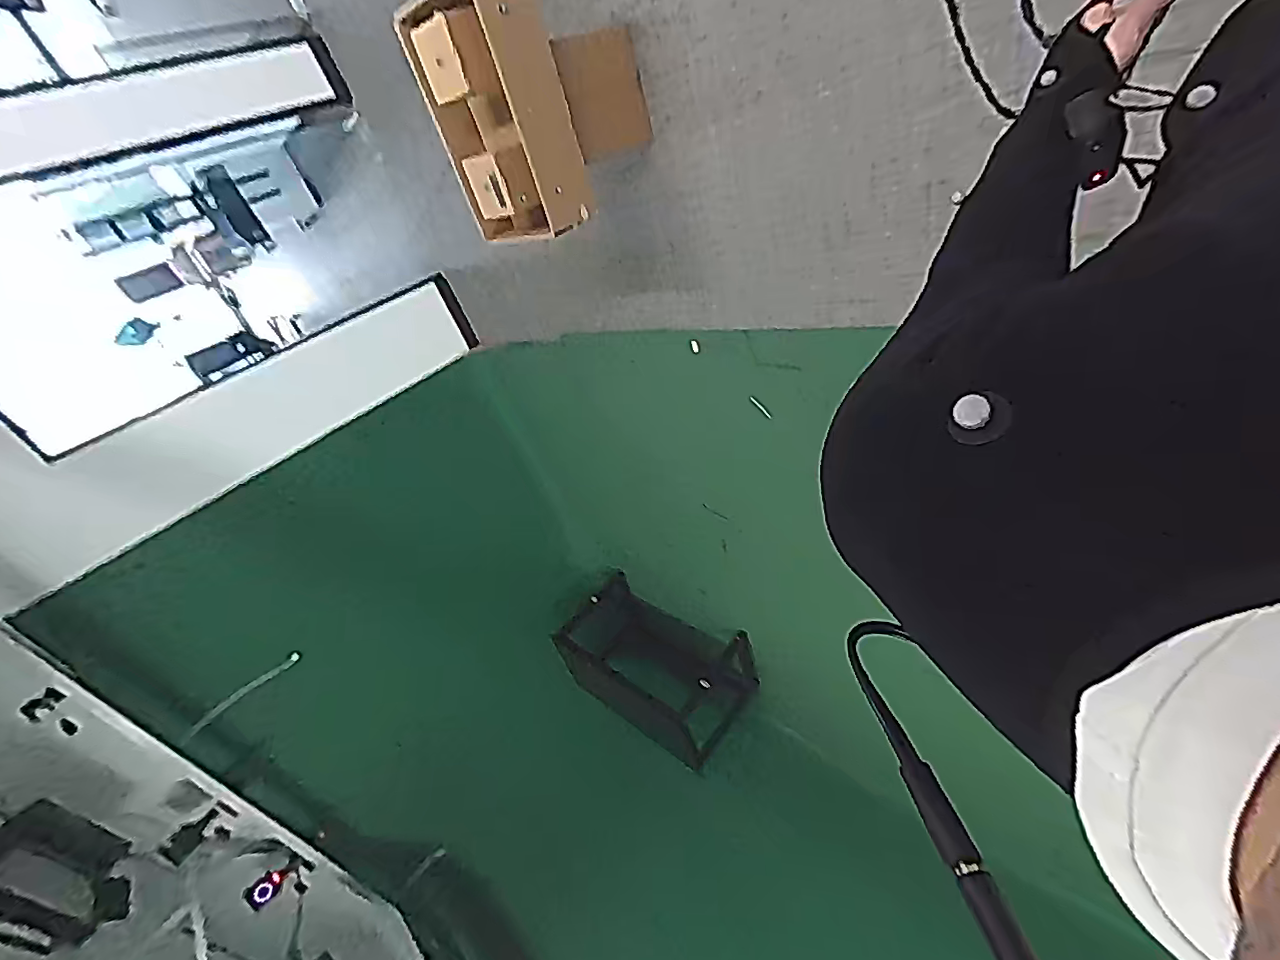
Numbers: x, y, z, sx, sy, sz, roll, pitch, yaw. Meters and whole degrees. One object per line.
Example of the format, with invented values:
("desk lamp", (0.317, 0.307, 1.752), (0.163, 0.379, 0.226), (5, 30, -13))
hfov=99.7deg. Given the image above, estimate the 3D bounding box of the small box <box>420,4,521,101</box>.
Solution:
("small box", (-0.459, -1.167, 1.481), (0.179, 0.176, 0.168), (18, 138, 41))
